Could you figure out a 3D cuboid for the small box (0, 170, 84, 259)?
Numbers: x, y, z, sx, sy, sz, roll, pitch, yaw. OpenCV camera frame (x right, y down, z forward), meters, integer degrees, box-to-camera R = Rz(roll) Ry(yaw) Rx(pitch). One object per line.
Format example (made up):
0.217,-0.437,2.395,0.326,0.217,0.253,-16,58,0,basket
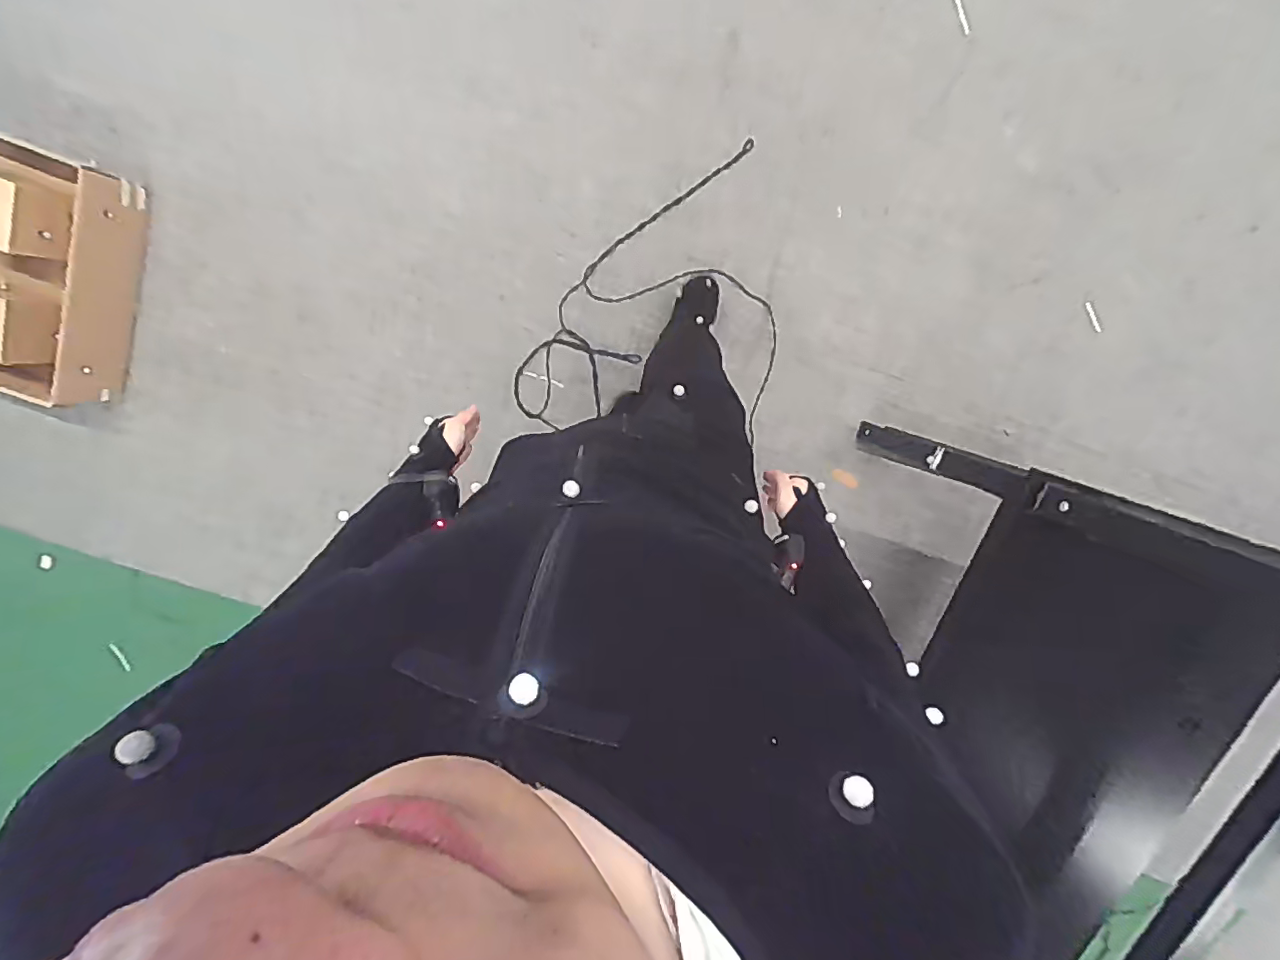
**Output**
-1.552,-0.666,1.343,0.179,0.176,0.168,21,104,-5,small box
